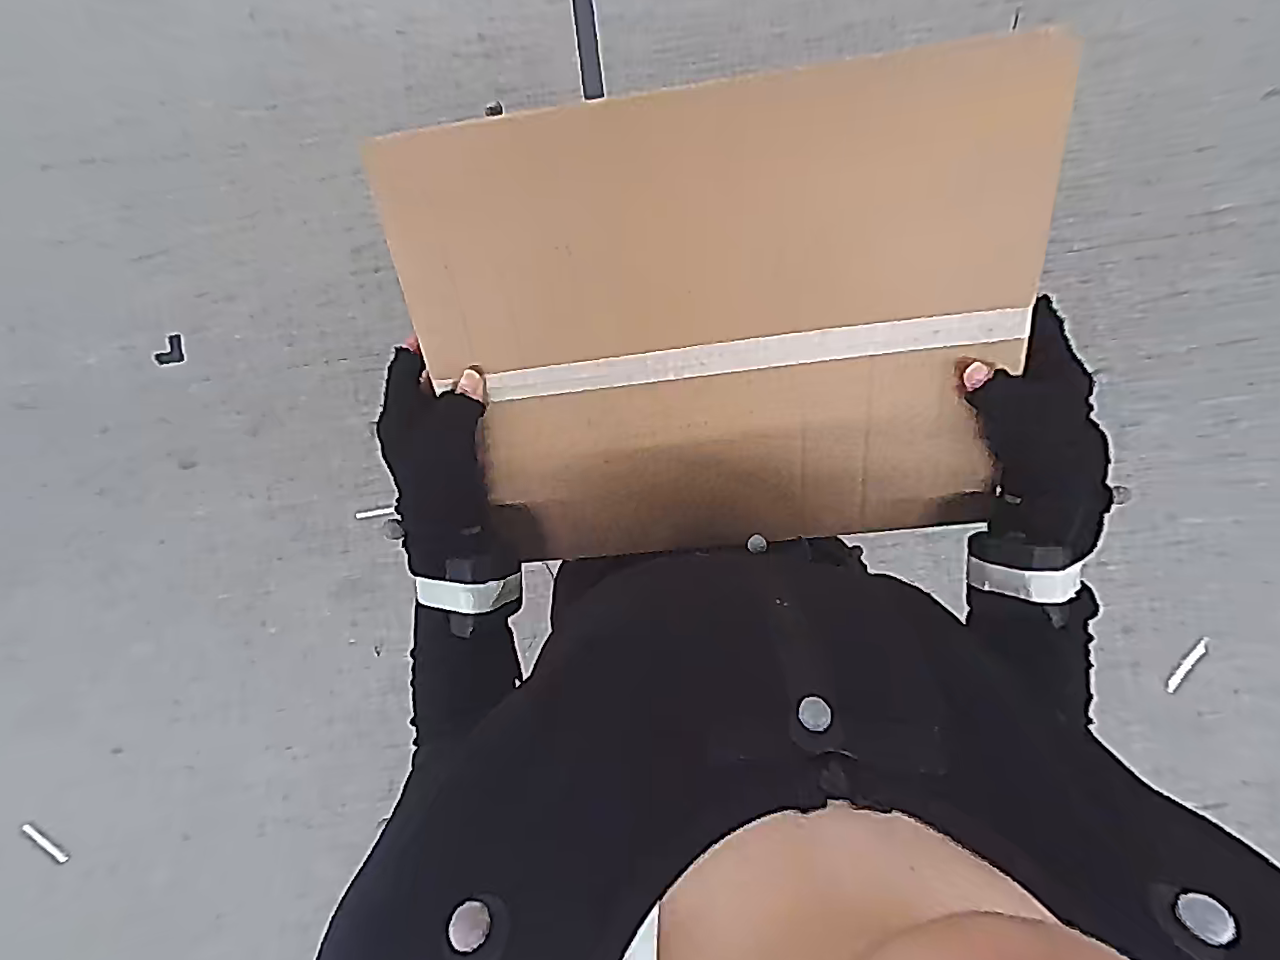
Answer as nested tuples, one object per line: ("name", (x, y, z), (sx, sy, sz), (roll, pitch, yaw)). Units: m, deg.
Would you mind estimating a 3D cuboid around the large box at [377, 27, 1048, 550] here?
("large box", (0.054, -0.163, 0.515), (0.408, 0.320, 0.320), (-6, 119, 5))
